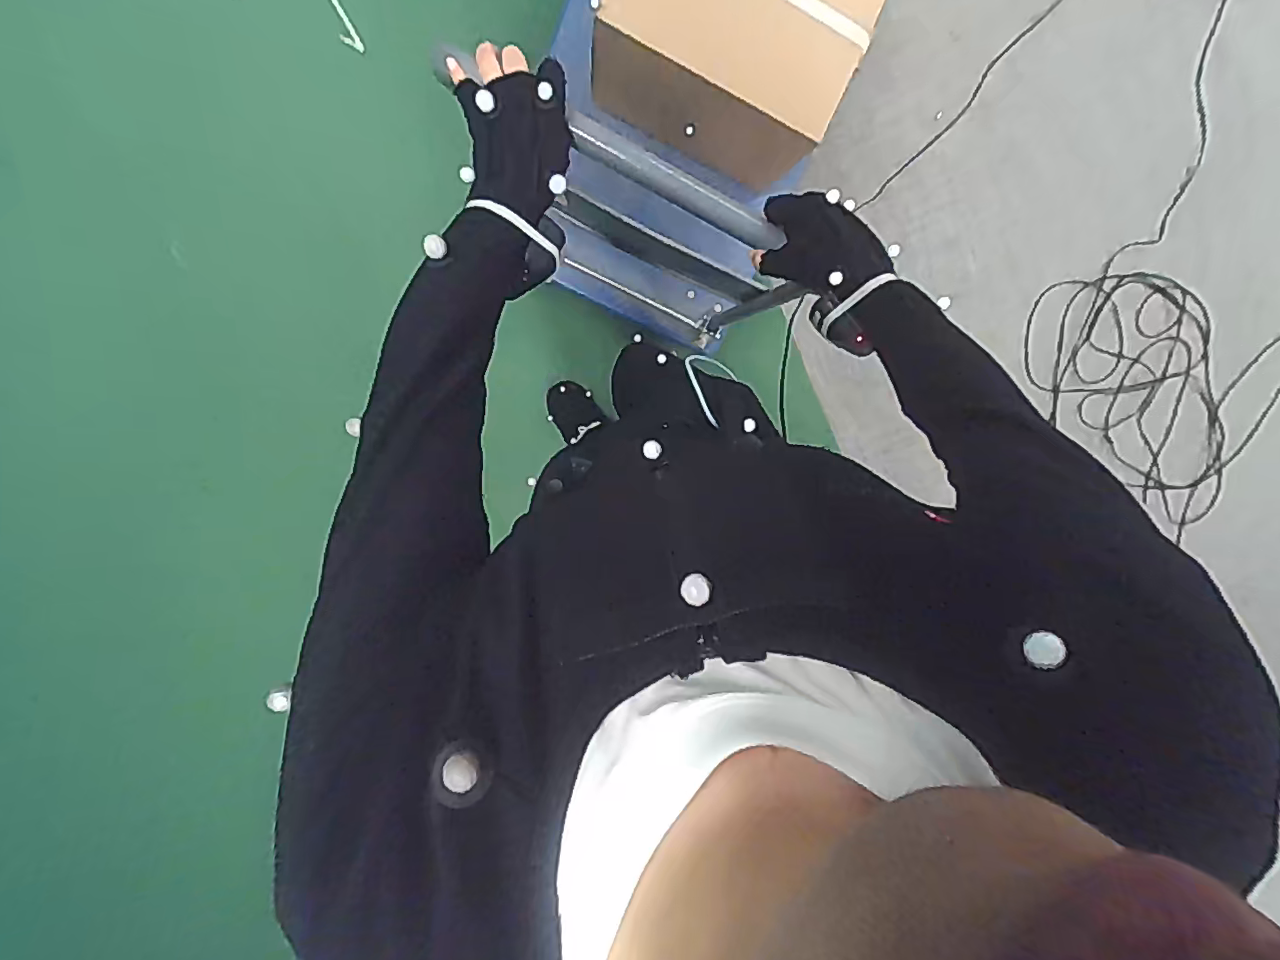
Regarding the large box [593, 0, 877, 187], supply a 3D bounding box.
[{"bbox_3d":[0.156,-0.804,0.981,0.408,0.320,0.320,22,100,-11],"label":"large box"}]
